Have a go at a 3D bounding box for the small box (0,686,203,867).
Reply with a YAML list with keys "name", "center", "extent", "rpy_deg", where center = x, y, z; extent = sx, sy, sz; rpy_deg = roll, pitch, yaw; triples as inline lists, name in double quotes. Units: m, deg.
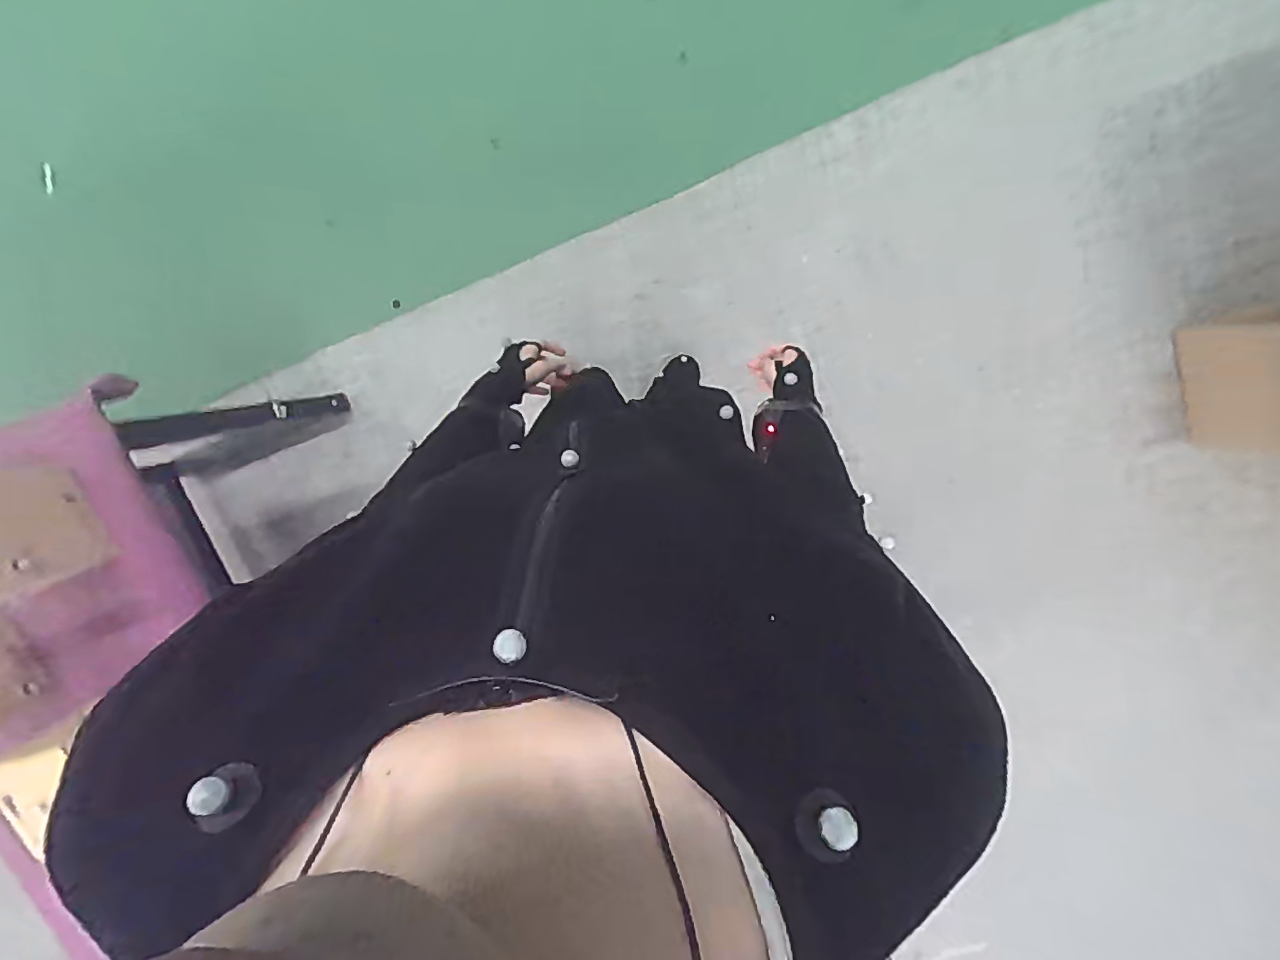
- name: "small box"
  center: [-0.841, 0.452, 0.846]
  extent: [0.179, 0.176, 0.168]
  rpy_deg: [-19, 101, 9]
